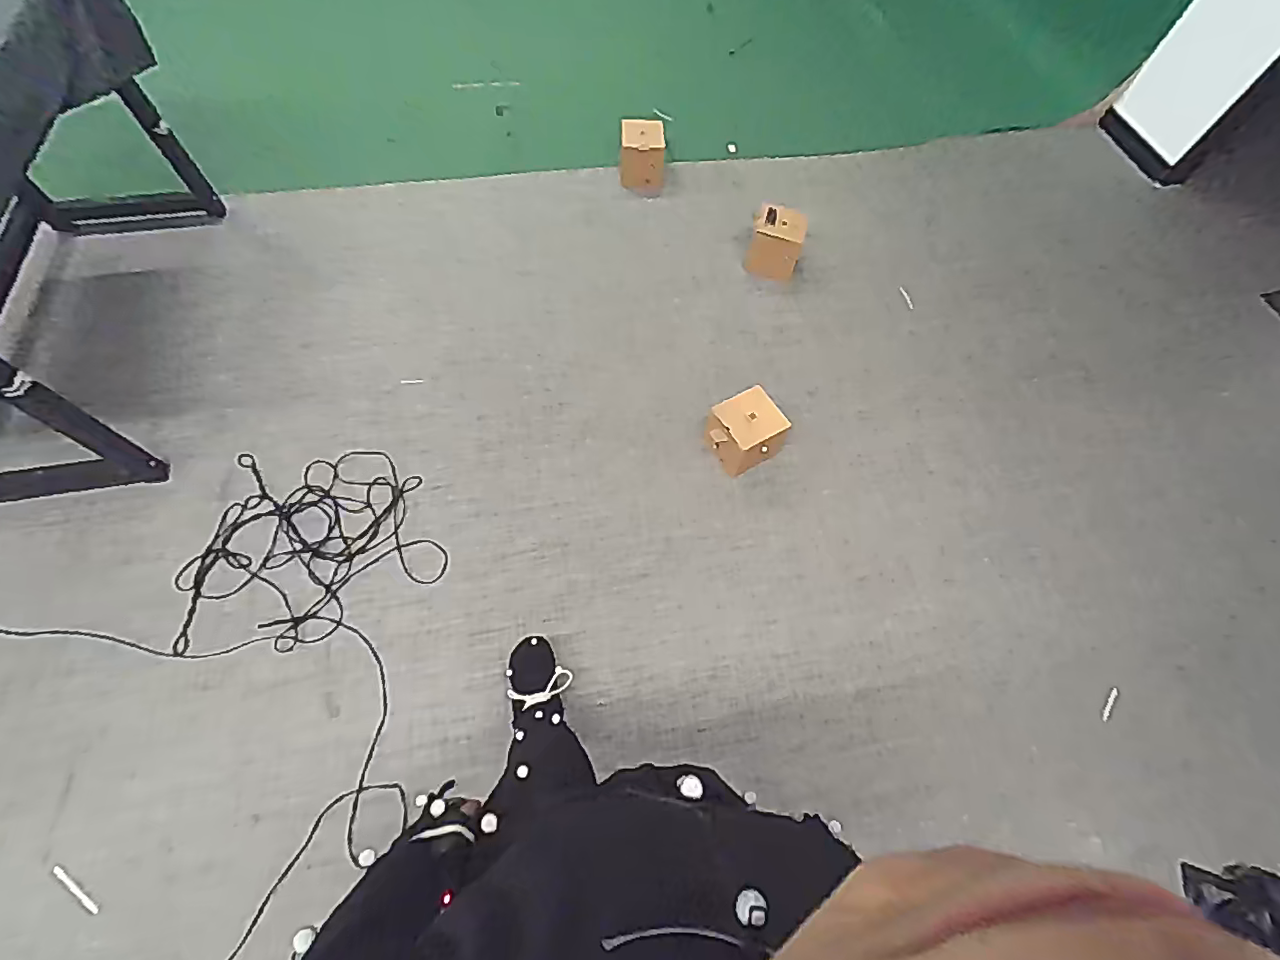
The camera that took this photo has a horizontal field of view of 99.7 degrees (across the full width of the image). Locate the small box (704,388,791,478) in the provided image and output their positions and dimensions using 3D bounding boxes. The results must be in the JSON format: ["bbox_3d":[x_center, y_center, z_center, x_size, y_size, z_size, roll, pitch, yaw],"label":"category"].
[{"bbox_3d":[0.312,-0.137,1.608,0.179,0.176,0.168,-28,68,-15],"label":"small box"}]

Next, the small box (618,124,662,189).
[{"bbox_3d":[-0.003,-1.303,2.183,0.168,0.176,0.179,-1,63,-5],"label":"small box"}]
